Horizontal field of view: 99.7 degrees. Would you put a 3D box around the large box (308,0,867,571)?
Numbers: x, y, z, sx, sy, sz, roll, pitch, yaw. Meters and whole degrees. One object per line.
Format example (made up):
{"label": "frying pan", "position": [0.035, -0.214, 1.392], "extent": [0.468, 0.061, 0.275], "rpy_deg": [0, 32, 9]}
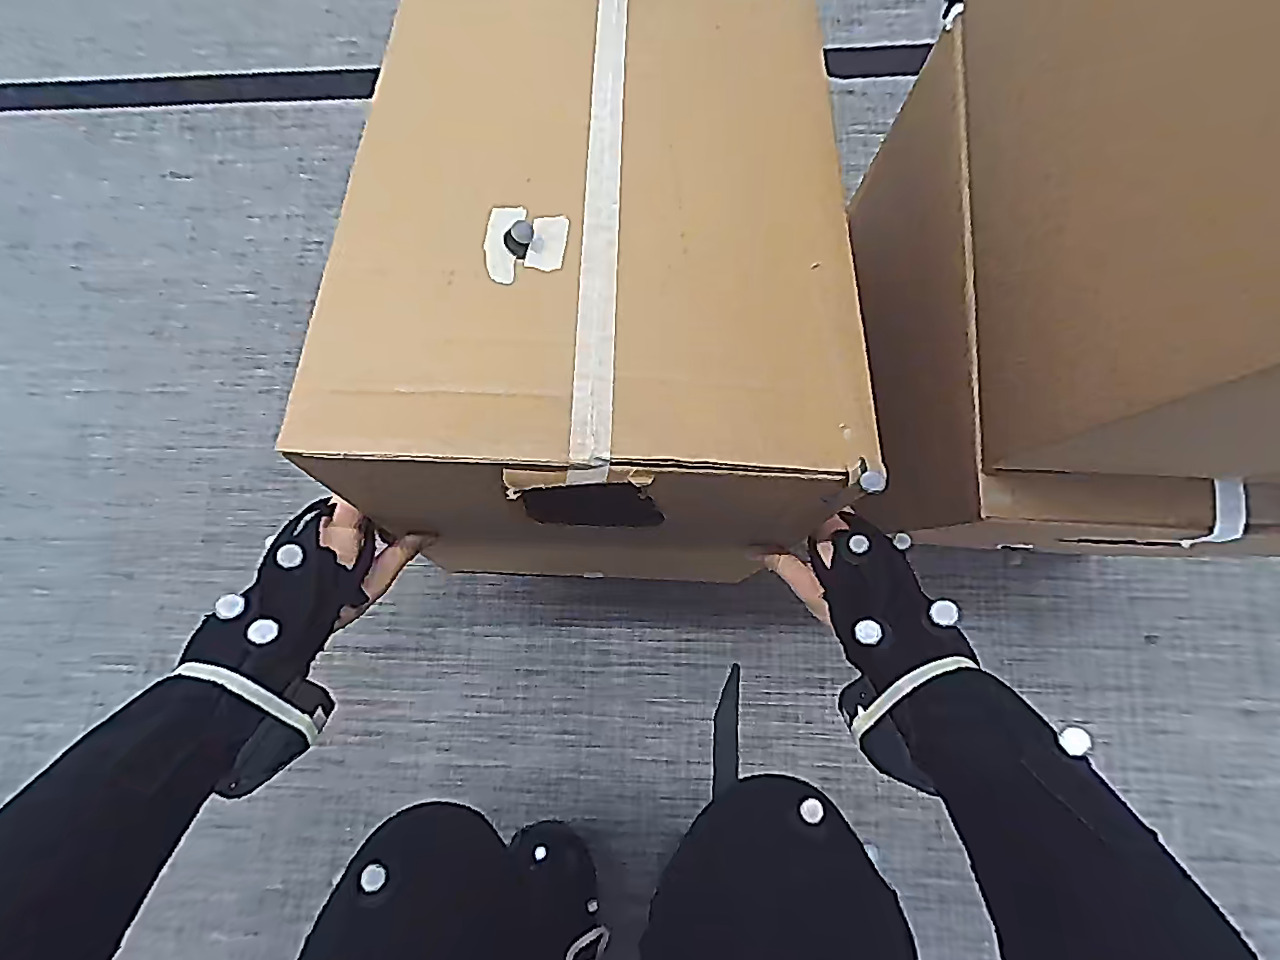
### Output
{"label": "large box", "position": [-0.036, -0.144, 0.498], "extent": [0.320, 0.320, 0.408], "rpy_deg": [1, 70, -3]}
